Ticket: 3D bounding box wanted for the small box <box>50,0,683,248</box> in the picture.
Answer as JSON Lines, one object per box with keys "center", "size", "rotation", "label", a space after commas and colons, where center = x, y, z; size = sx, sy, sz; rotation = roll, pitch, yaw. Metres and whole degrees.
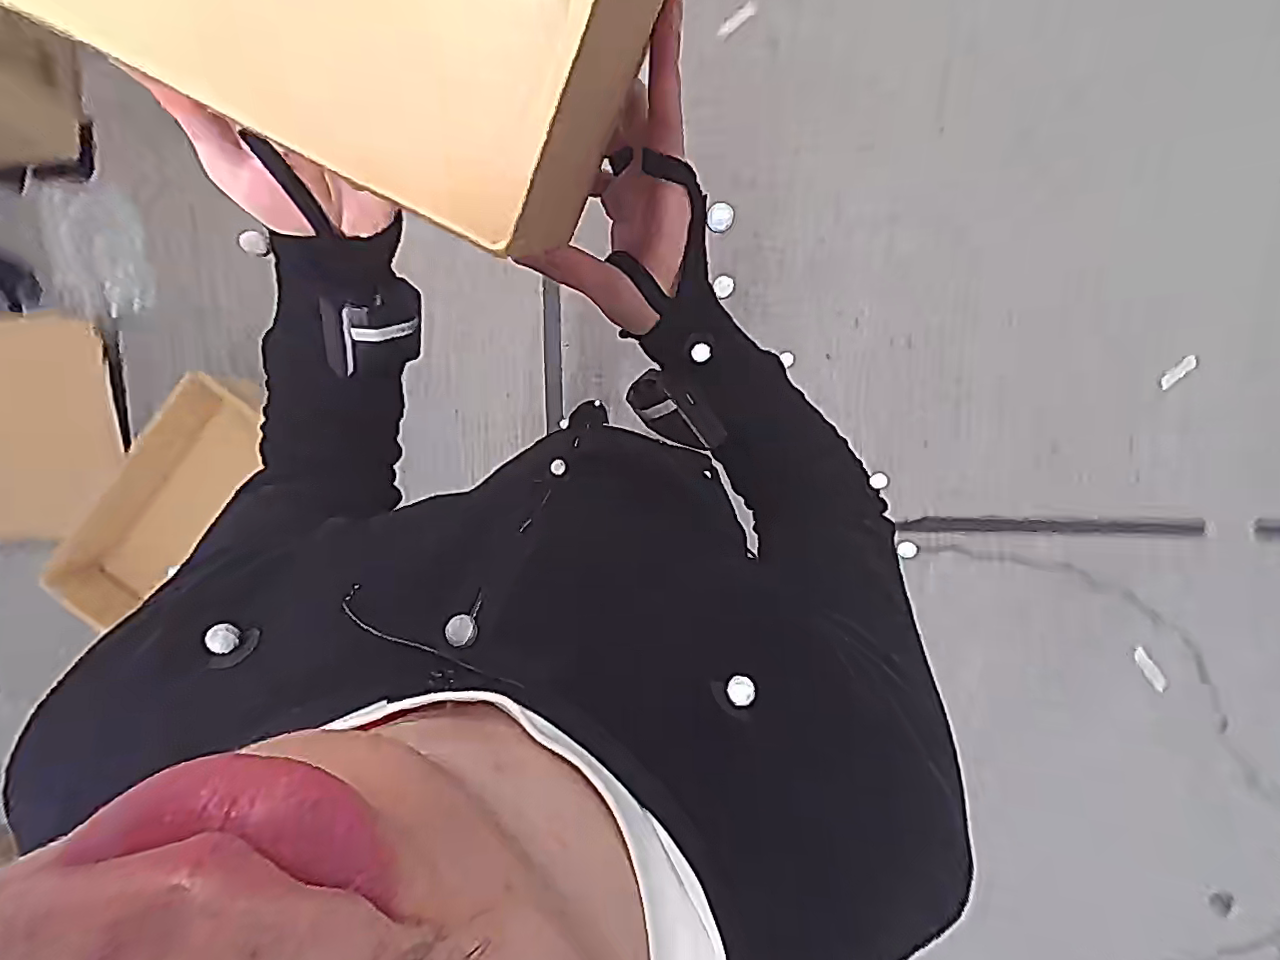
{"center": [-0.067, -0.202, 0.182], "size": [0.168, 0.176, 0.179], "rotation": [24, 112, -11], "label": "small box"}
